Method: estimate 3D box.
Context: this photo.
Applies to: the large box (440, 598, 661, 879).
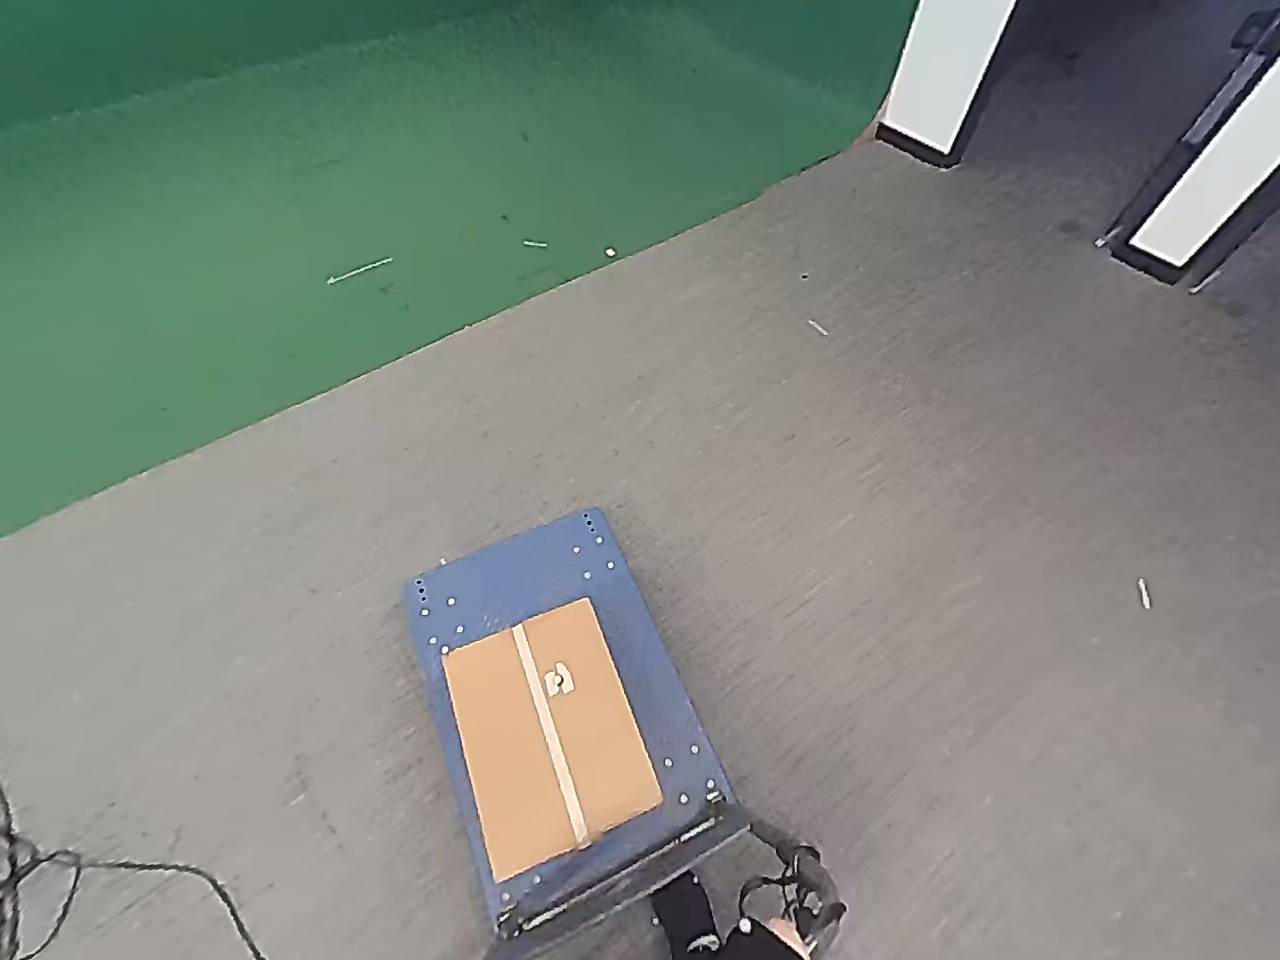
[{"bbox_3d":[-0.179,0.524,1.138,0.320,0.320,0.408,-19,64,-12],"label":"large box"}]
